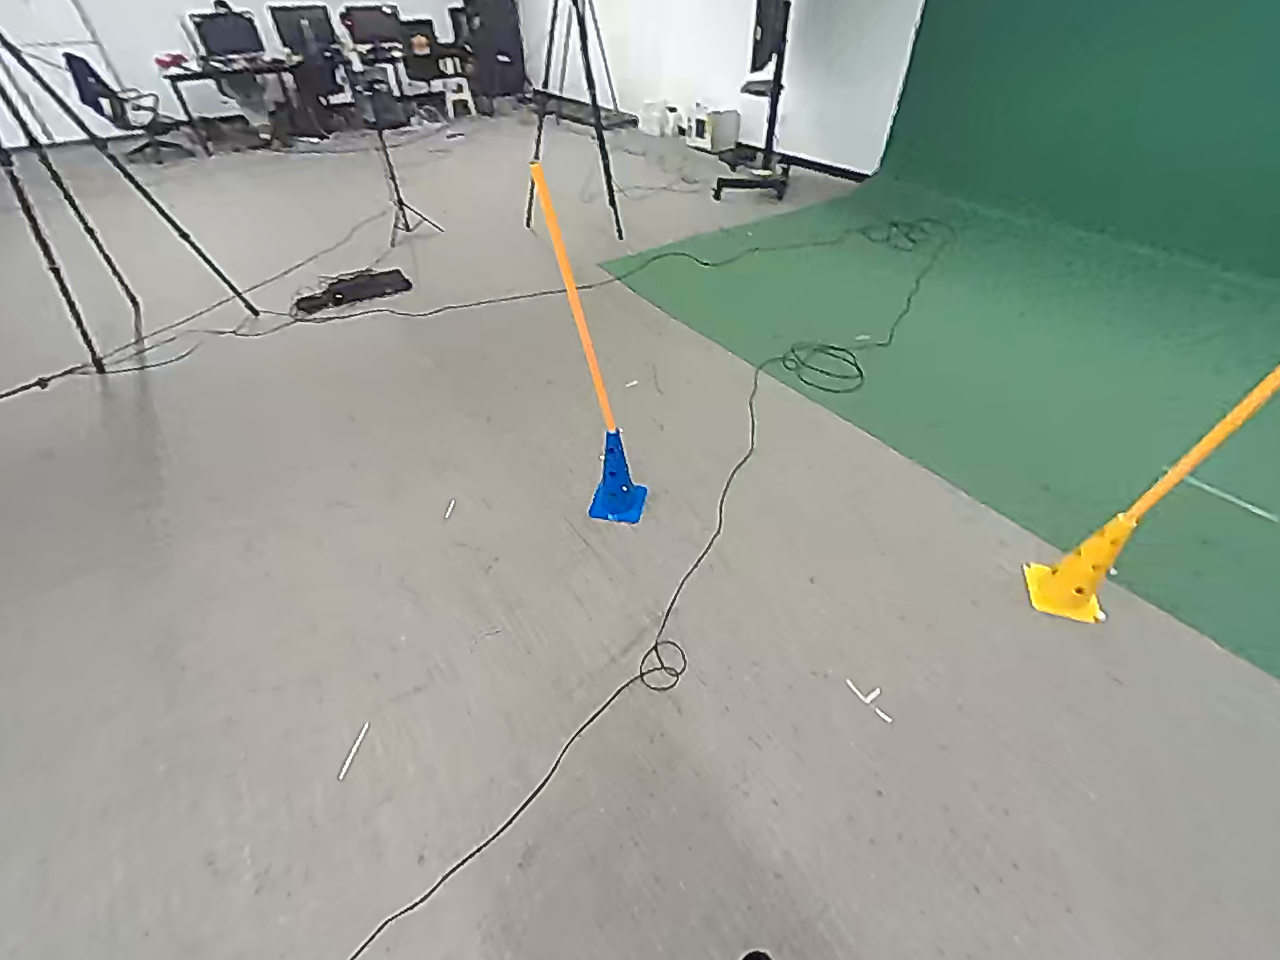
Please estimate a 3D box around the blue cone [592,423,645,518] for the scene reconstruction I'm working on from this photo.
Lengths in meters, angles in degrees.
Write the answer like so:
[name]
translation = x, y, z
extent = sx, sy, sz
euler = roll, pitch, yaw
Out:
[blue cone]
translation = -0.089, -0.044, 1.955
extent = 0.193, 0.380, 0.192
euler = 5, 45, 9
